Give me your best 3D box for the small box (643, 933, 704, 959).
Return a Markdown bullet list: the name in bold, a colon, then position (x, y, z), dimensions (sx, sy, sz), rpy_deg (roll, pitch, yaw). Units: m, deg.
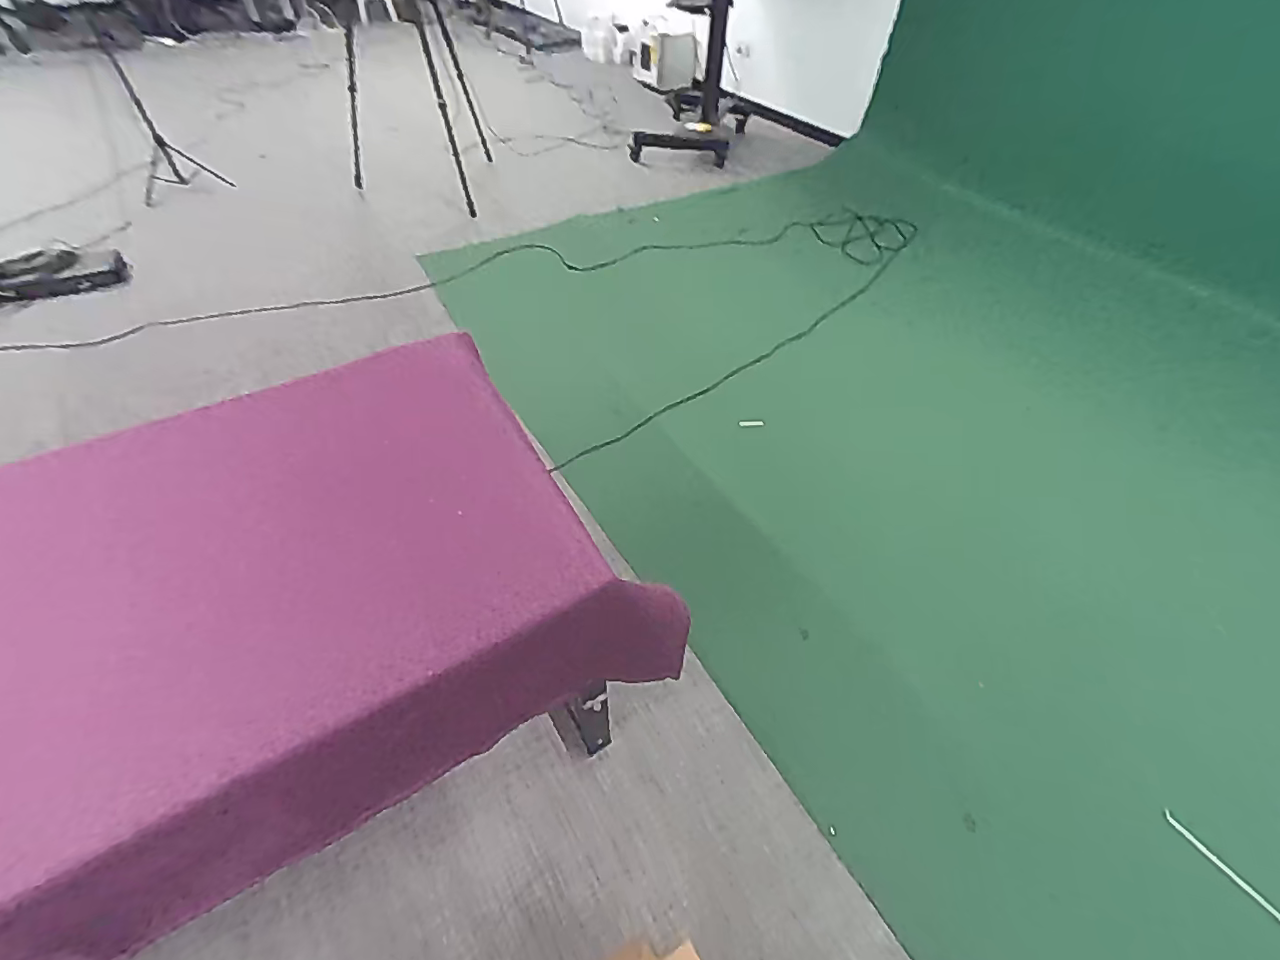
- **small box**: position (0.041, 0.779, 0.753), dimensions (0.168, 0.176, 0.179), rpy_deg (-23, 54, -23)
